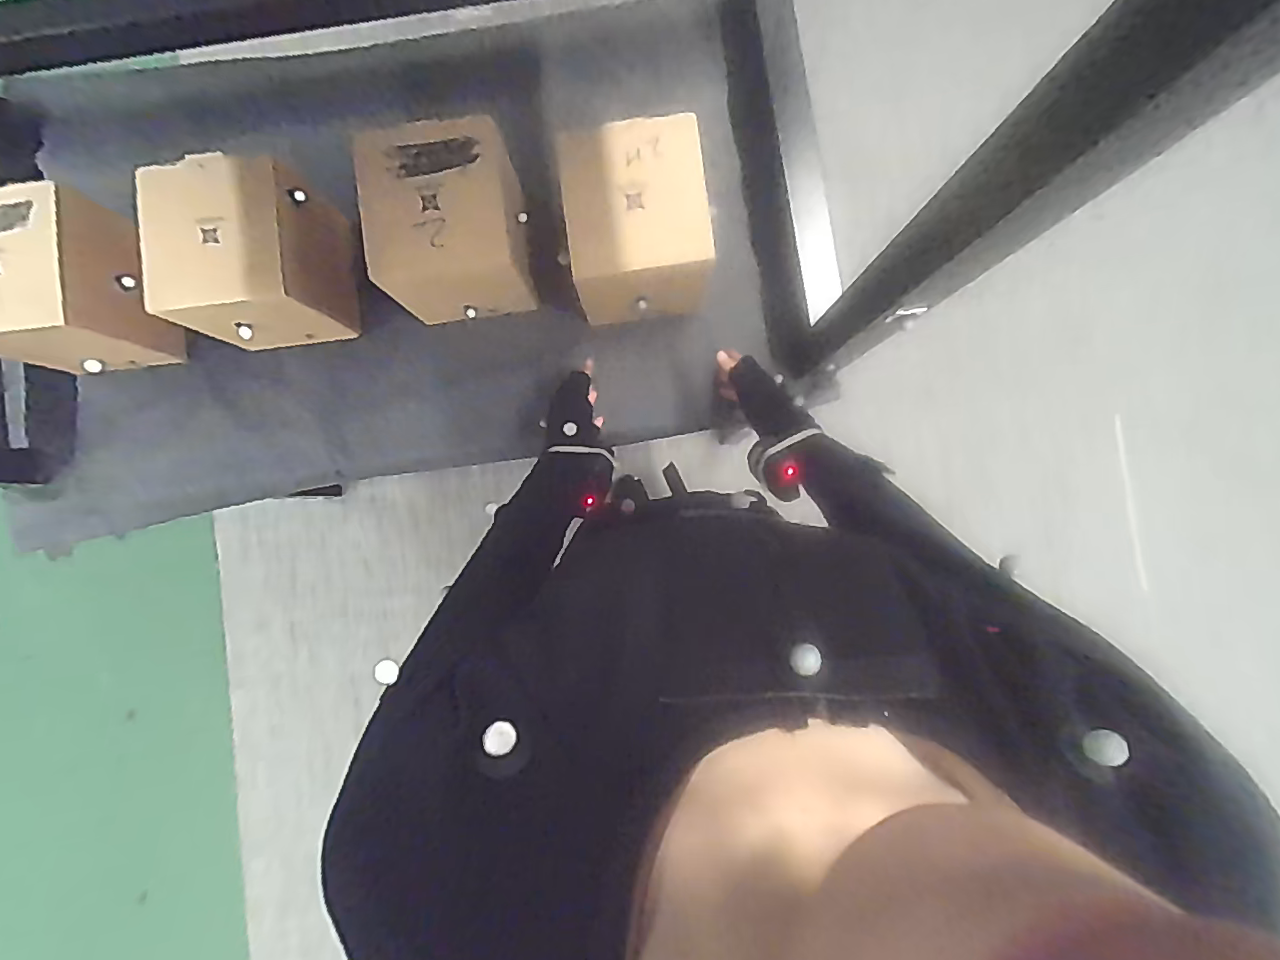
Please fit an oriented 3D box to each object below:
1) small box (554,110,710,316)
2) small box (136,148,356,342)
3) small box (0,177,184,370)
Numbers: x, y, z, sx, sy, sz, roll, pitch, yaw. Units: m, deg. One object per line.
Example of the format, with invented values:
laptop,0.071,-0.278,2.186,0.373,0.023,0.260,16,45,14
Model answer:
small box,-0.006,-0.324,0.695,0.168,0.176,0.179,-8,87,1
small box,-0.496,-0.288,0.706,0.168,0.176,0.179,-7,88,0
small box,-0.747,-0.256,0.705,0.168,0.176,0.179,-6,88,1
